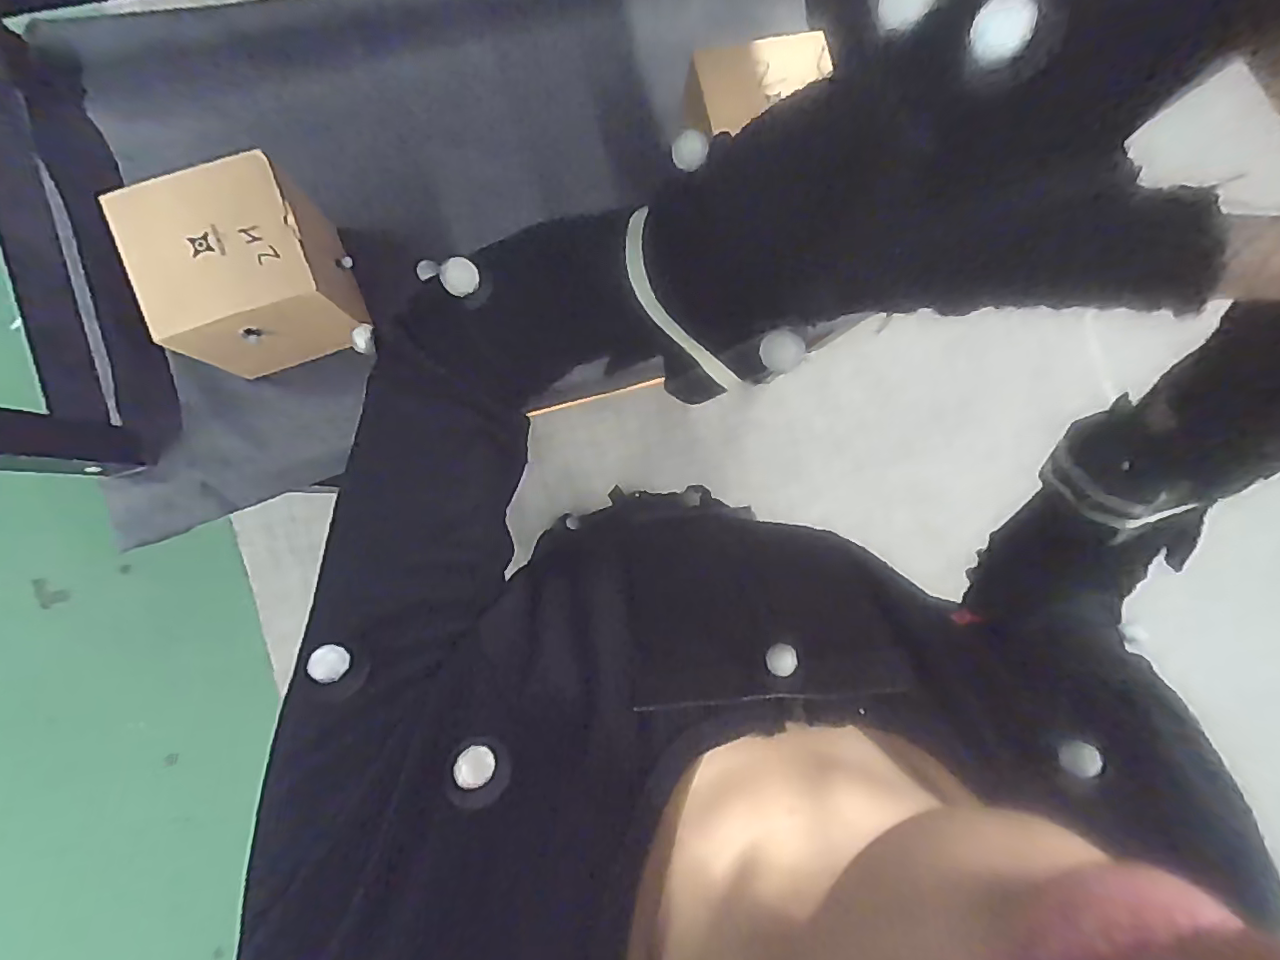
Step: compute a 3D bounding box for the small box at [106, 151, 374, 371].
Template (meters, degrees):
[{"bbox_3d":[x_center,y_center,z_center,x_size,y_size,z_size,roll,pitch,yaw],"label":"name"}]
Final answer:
[{"bbox_3d":[-0.462,-0.248,0.655,0.179,0.176,0.168,-21,90,-7],"label":"small box"}]
